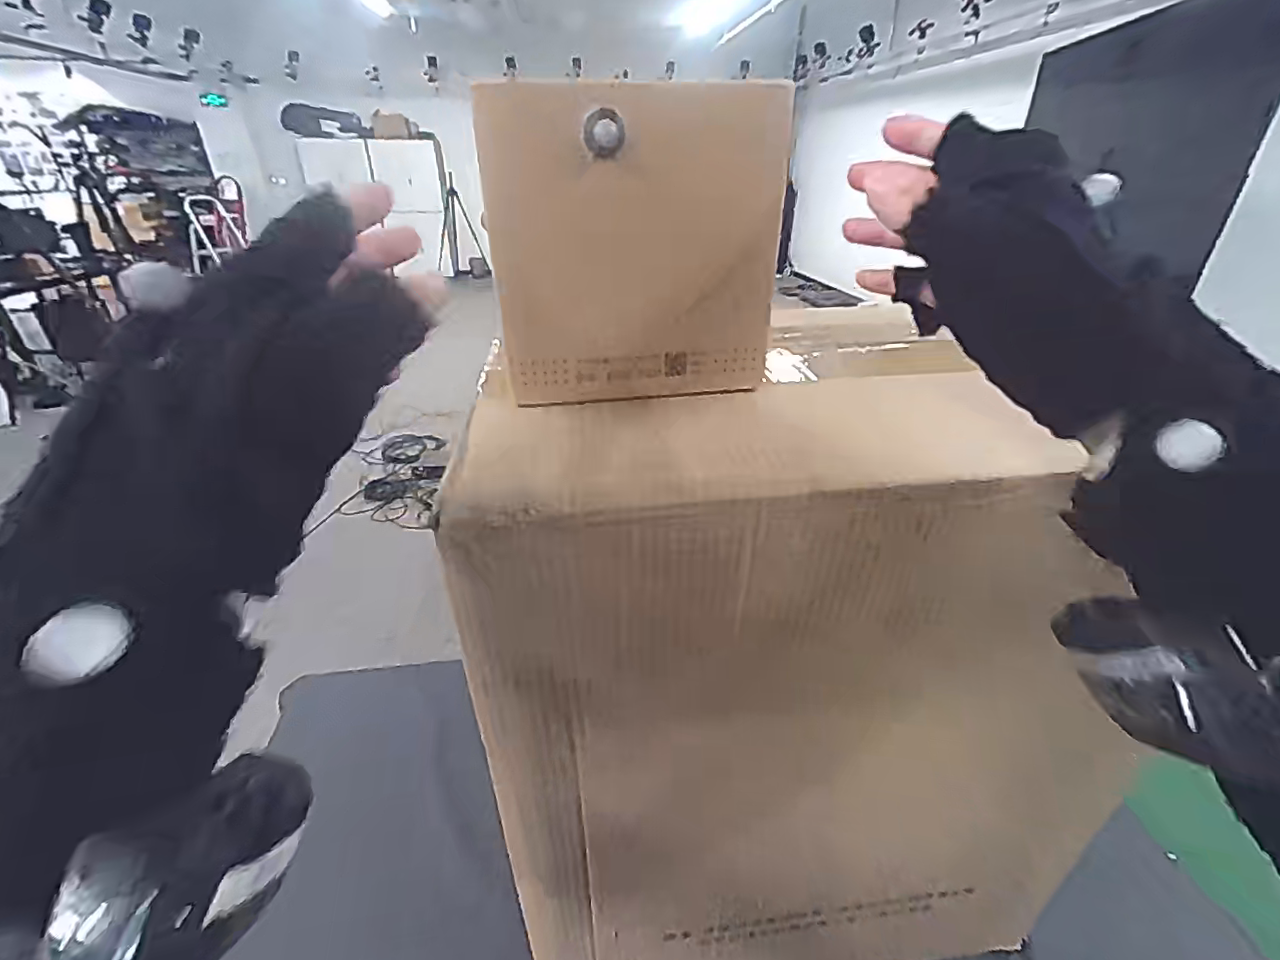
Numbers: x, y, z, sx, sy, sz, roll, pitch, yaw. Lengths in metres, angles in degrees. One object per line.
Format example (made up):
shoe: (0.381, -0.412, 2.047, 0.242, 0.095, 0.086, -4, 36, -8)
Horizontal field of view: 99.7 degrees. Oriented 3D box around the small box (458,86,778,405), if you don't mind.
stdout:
small box: (-0.019, -0.163, 0.381, 0.168, 0.176, 0.179, -6, 31, -7)
